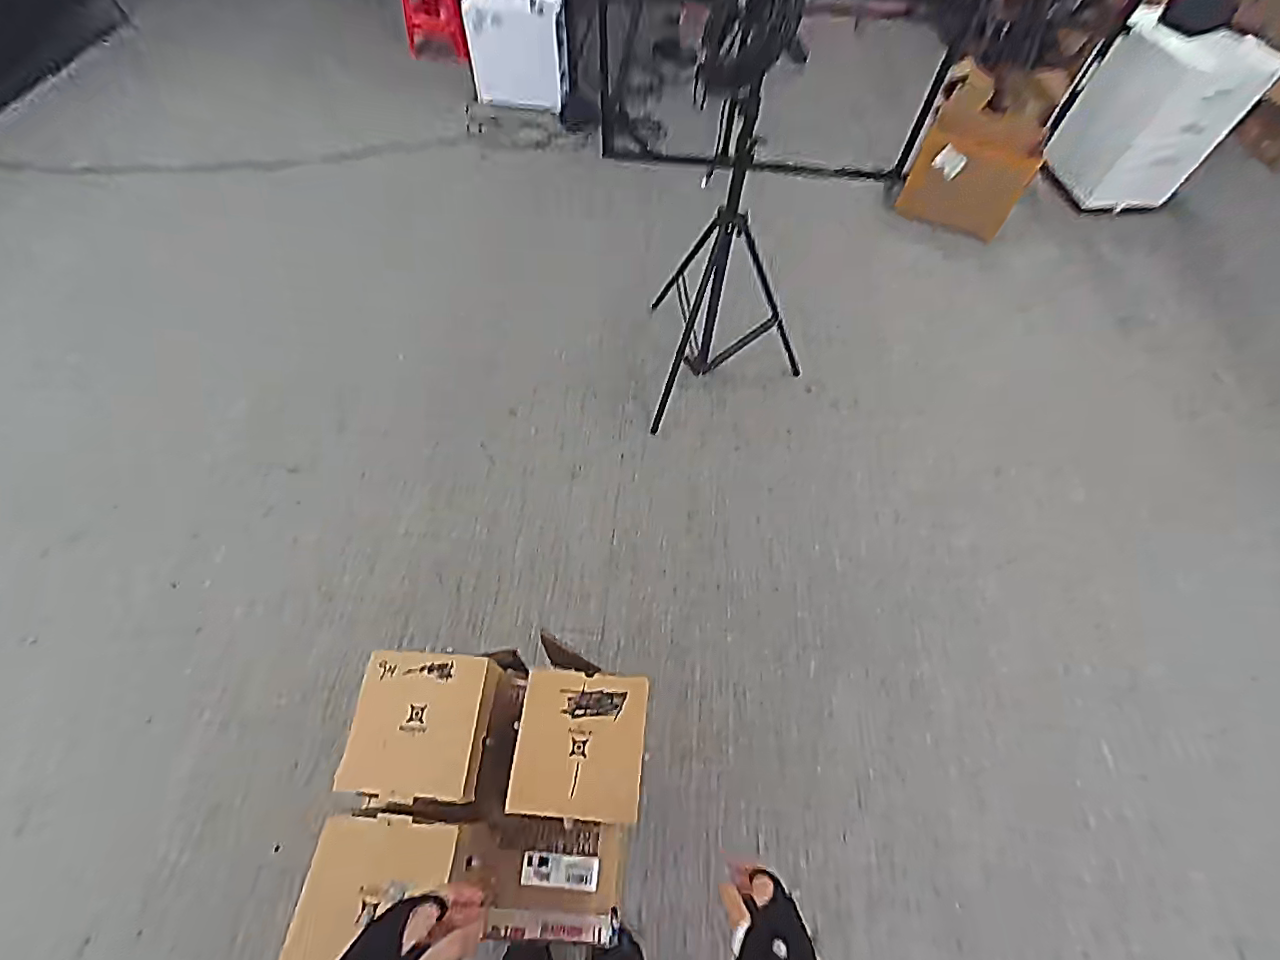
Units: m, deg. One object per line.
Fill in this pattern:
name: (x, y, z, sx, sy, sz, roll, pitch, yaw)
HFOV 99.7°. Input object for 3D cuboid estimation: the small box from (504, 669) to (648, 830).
small box: (-0.084, 0.384, 0.772, 0.168, 0.176, 0.179, 6, 60, 0)
